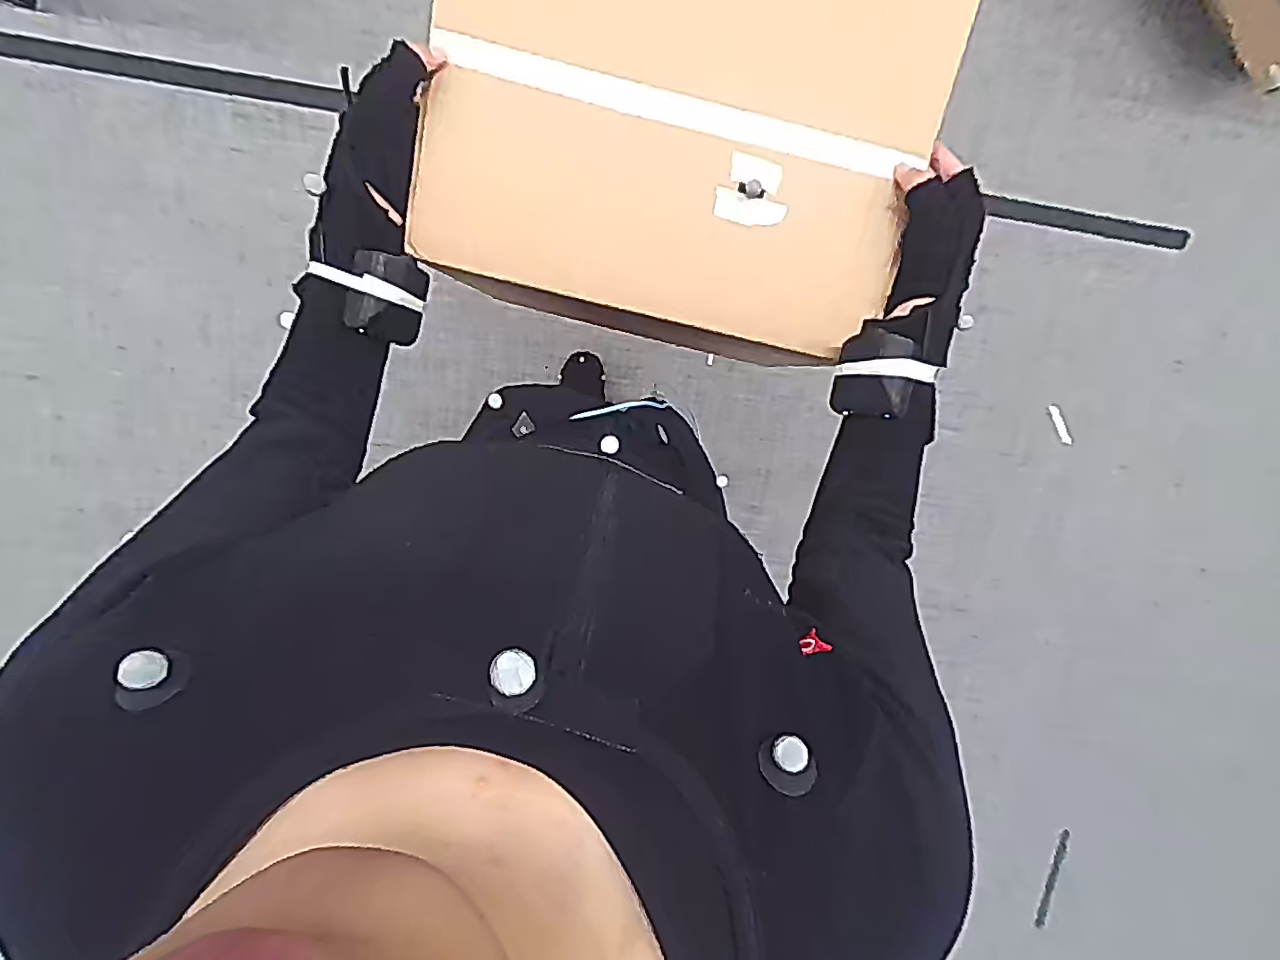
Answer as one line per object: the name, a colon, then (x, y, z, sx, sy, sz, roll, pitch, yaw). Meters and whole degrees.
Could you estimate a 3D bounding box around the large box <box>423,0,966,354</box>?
large box: (0.032, -0.331, 0.584, 0.408, 0.320, 0.320, 12, 103, -5)
